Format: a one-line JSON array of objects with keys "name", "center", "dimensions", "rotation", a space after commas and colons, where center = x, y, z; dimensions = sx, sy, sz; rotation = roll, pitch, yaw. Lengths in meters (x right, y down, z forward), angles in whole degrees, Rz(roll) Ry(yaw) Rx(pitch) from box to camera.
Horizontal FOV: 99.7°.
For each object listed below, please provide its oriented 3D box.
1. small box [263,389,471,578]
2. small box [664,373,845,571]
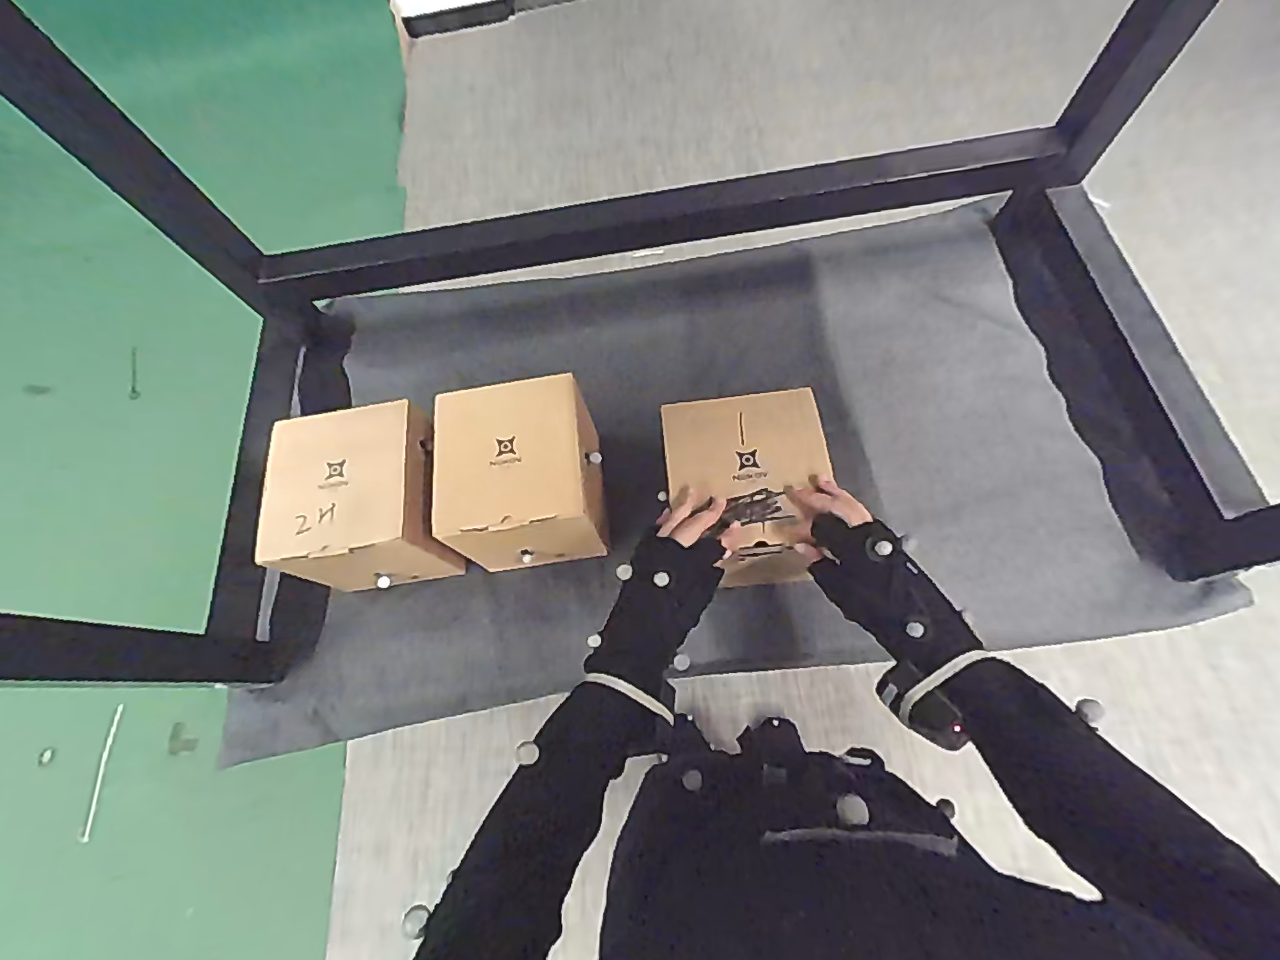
[{"name": "small box", "center": [-0.324, 0.013, 0.678], "dimensions": [0.168, 0.176, 0.179], "rotation": [-9, 68, 4]}, {"name": "small box", "center": [0.121, 0.003, 0.625], "dimensions": [0.168, 0.176, 0.179], "rotation": [-6, 67, 5]}]
